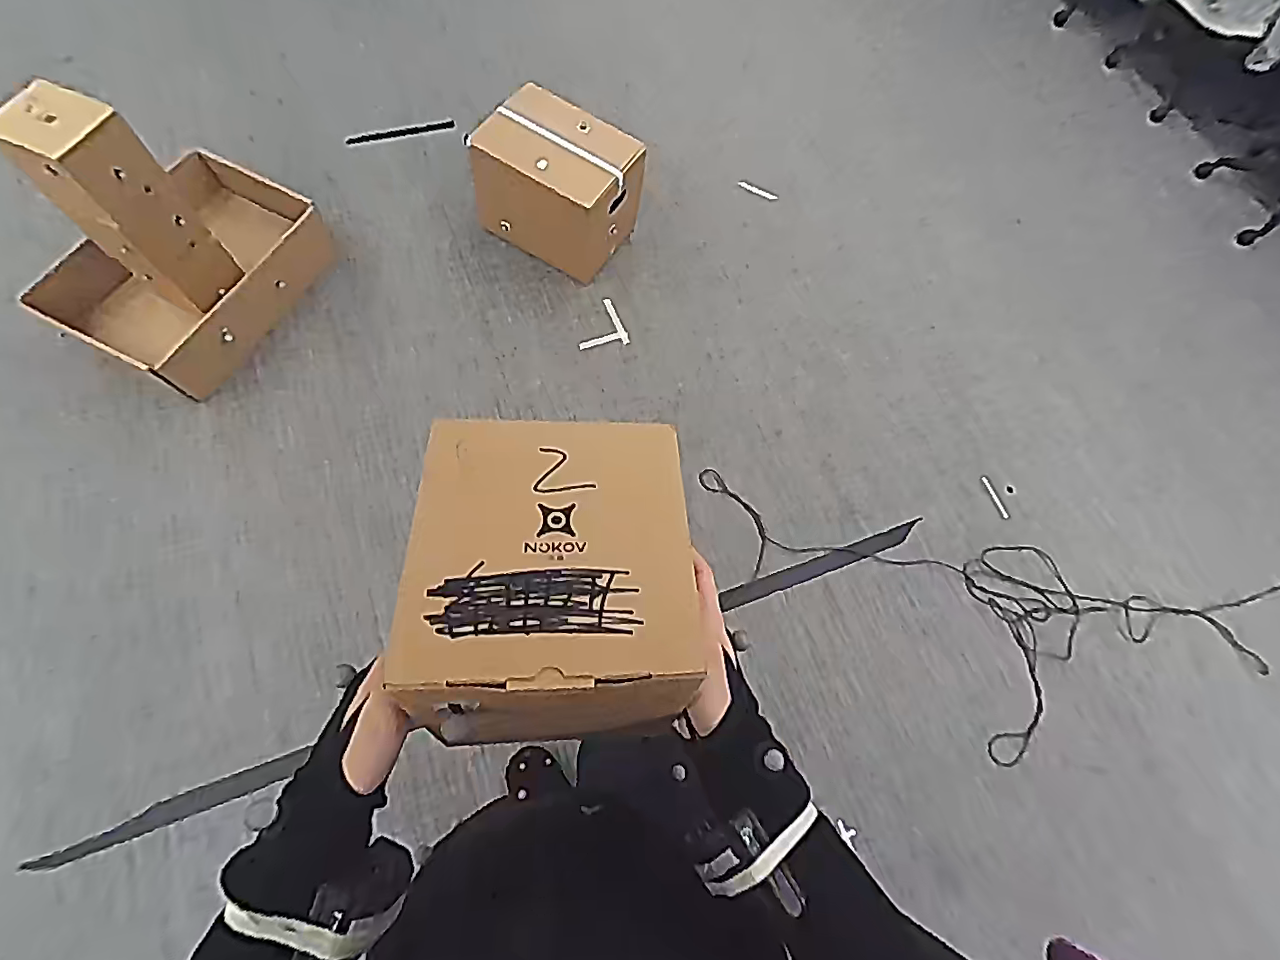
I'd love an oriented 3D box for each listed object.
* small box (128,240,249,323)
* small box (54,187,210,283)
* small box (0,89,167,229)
[{"bbox_3d":[-1.211,-0.553,1.446,0.179,0.176,0.168,26,69,2],"label":"small box"},{"bbox_3d":[-1.196,-0.605,1.293,0.179,0.176,0.168,21,67,2],"label":"small box"},{"bbox_3d":[-1.173,-0.667,1.142,0.179,0.176,0.168,21,67,1],"label":"small box"}]
